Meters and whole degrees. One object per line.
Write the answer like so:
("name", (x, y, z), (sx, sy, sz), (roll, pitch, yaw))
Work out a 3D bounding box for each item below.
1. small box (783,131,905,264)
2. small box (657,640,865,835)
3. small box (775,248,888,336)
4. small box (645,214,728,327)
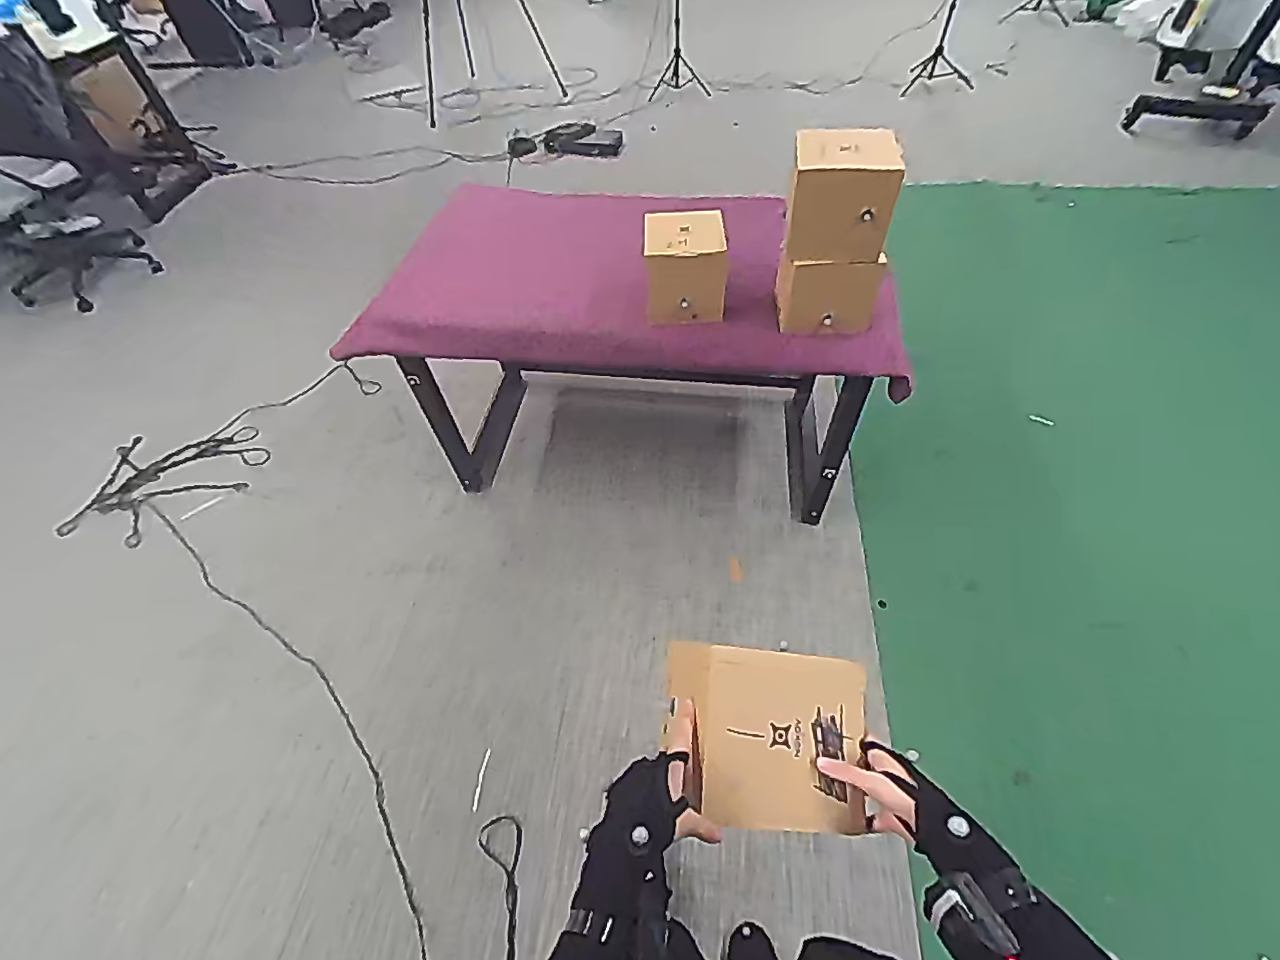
("small box", (0.368, -0.521, 1.005), (0.179, 0.176, 0.168), (5, 53, 9))
("small box", (0.129, 0.277, 0.616), (0.179, 0.176, 0.168), (10, 73, -9))
("small box", (0.388, -0.415, 1.129), (0.179, 0.176, 0.168), (1, 53, 5))
("small box", (0.098, -0.455, 1.181), (0.168, 0.176, 0.179), (-1, 52, 4))
